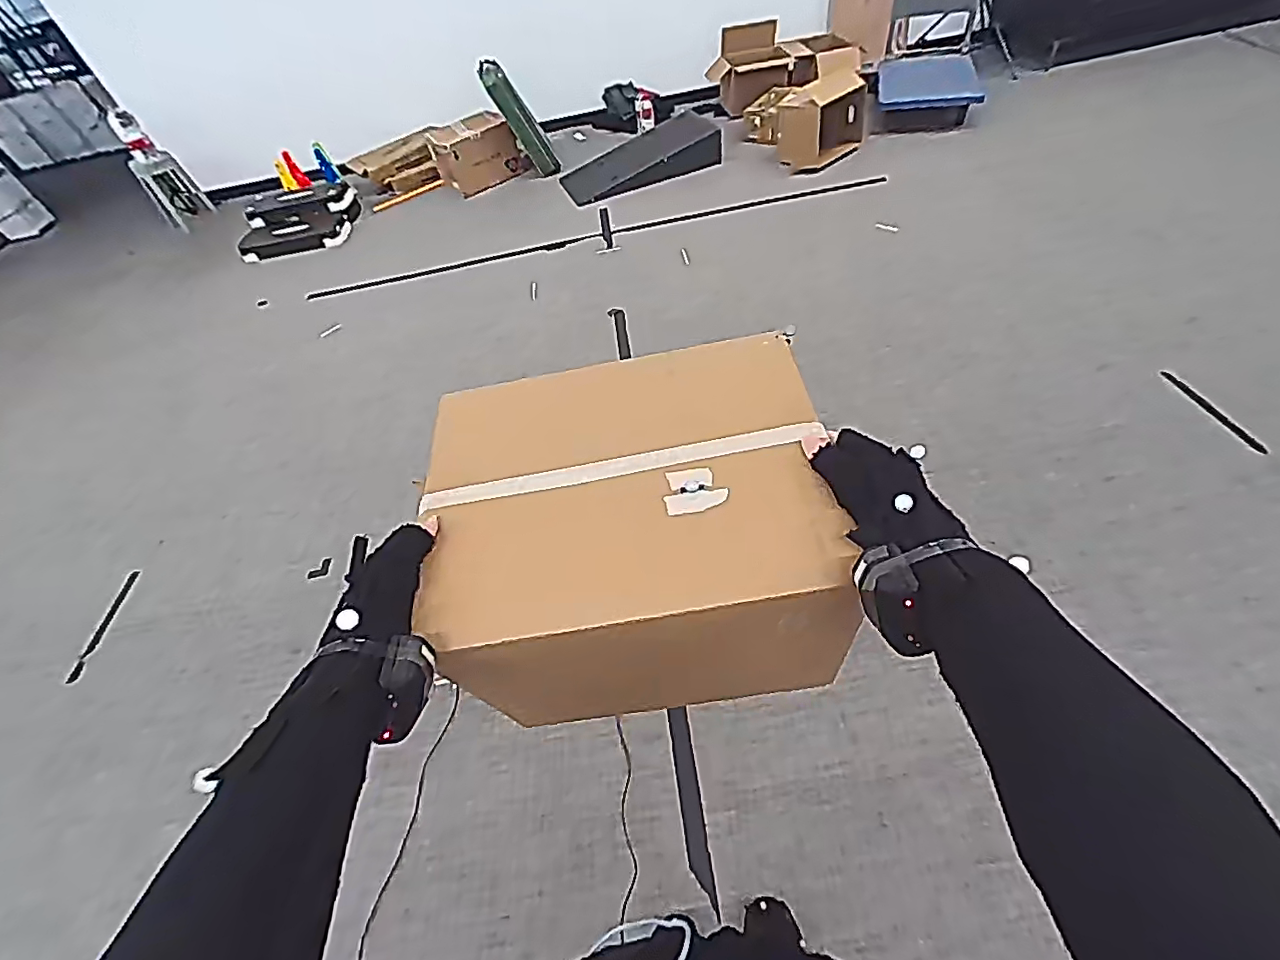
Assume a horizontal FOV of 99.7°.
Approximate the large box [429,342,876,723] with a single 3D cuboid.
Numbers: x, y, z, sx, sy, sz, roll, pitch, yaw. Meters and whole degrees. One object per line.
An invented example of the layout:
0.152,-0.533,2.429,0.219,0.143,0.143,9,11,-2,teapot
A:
0.010,0.080,0.671,0.408,0.320,0.320,-10,54,3,large box
